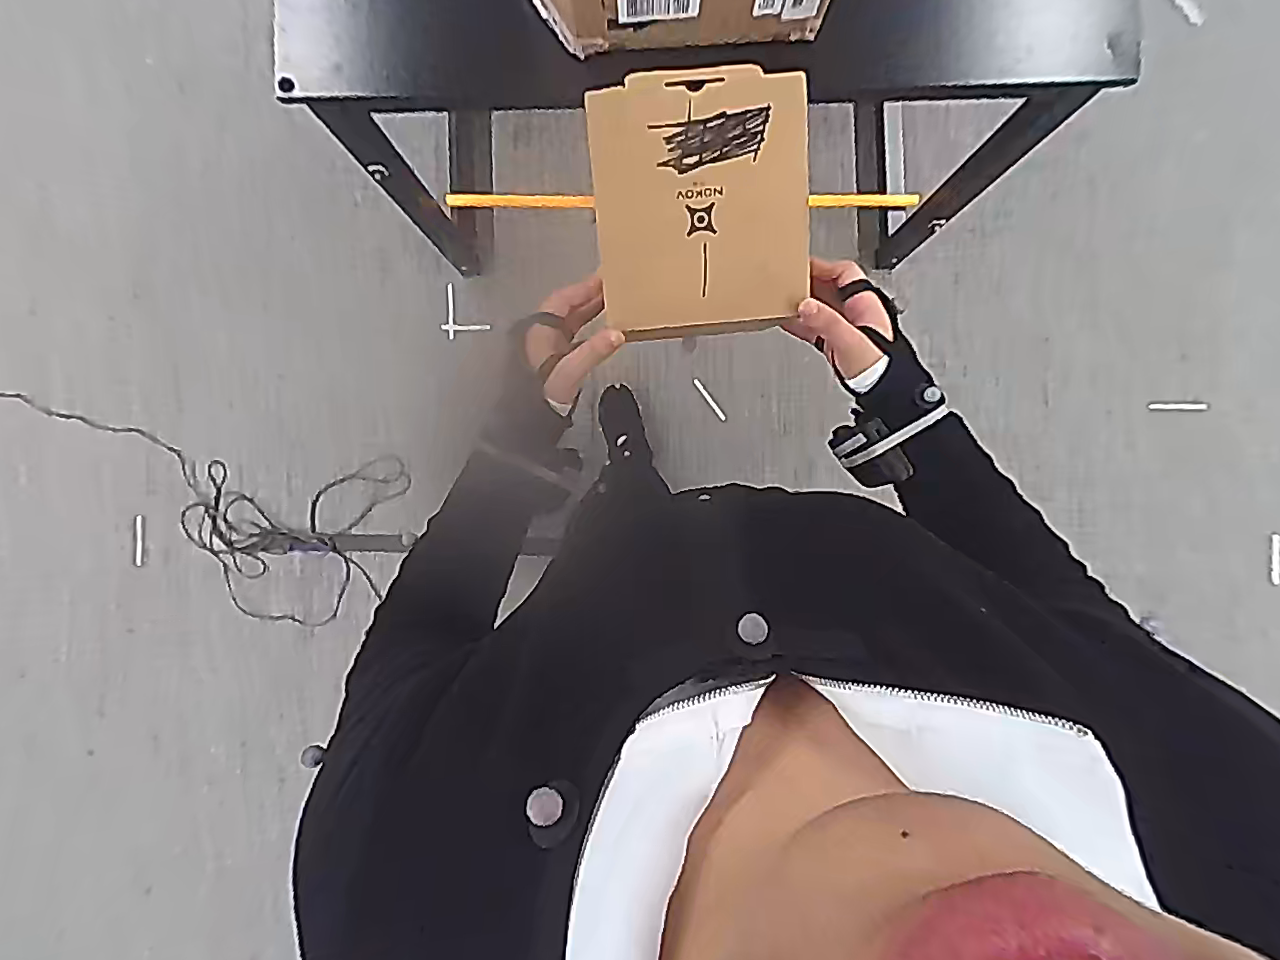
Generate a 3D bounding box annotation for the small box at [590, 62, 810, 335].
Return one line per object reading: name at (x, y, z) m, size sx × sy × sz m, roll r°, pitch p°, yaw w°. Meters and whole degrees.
small box at (0.047, -0.232, 0.491) m, size 0.168 × 0.176 × 0.179 m, roll -4°, pitch 102°, yaw 1°
